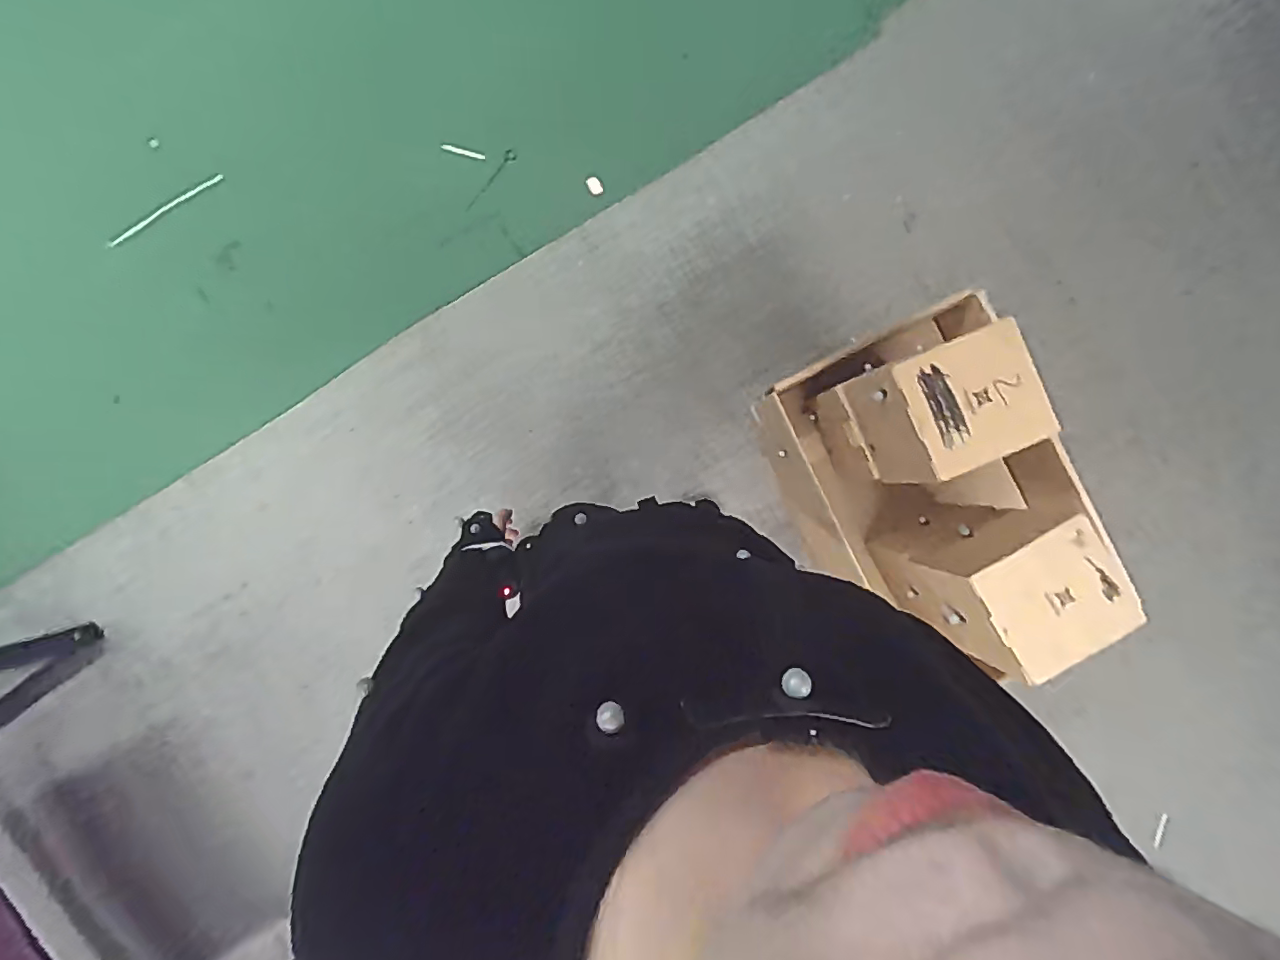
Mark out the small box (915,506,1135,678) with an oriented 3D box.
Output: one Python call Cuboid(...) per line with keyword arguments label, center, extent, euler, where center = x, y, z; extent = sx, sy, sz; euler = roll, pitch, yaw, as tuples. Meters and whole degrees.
Cuboid(label="small box", center=(0.536, 0.151, 0.787), extent=(0.179, 0.176, 0.168), euler=(-29, 90, 1))
